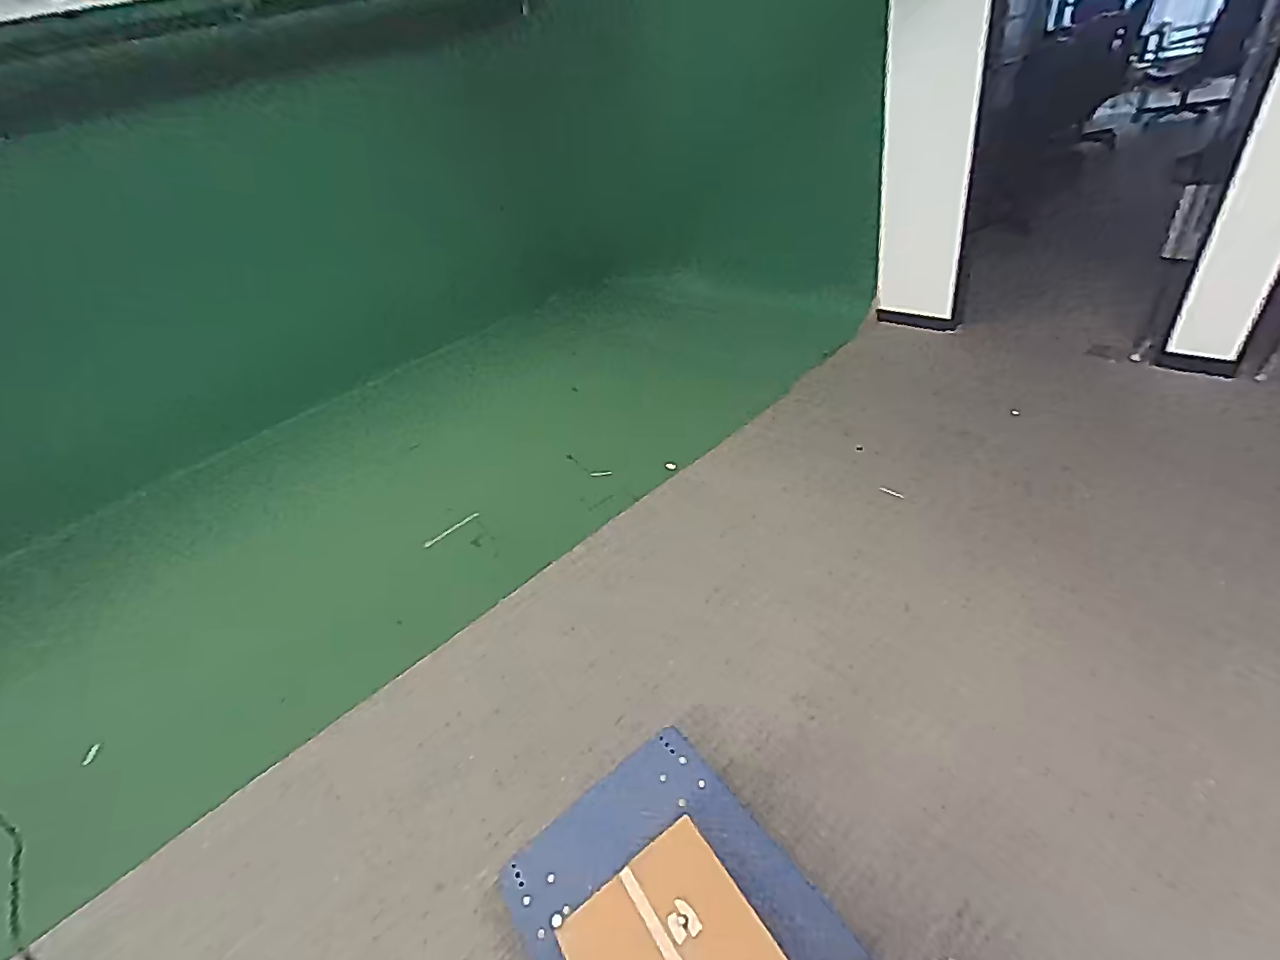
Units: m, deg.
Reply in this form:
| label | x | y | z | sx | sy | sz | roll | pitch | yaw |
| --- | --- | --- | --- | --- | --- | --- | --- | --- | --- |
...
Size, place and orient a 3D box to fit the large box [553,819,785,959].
| label | x | y | z | sx | sy | sz | roll | pitch | yaw |
| --- | --- | --- | --- | --- | --- | --- | --- | --- | --- |
| large box | 0.105 | 0.949 | 0.987 | 0.320 | 0.320 | 0.408 | -31 | 39 | -19 |
